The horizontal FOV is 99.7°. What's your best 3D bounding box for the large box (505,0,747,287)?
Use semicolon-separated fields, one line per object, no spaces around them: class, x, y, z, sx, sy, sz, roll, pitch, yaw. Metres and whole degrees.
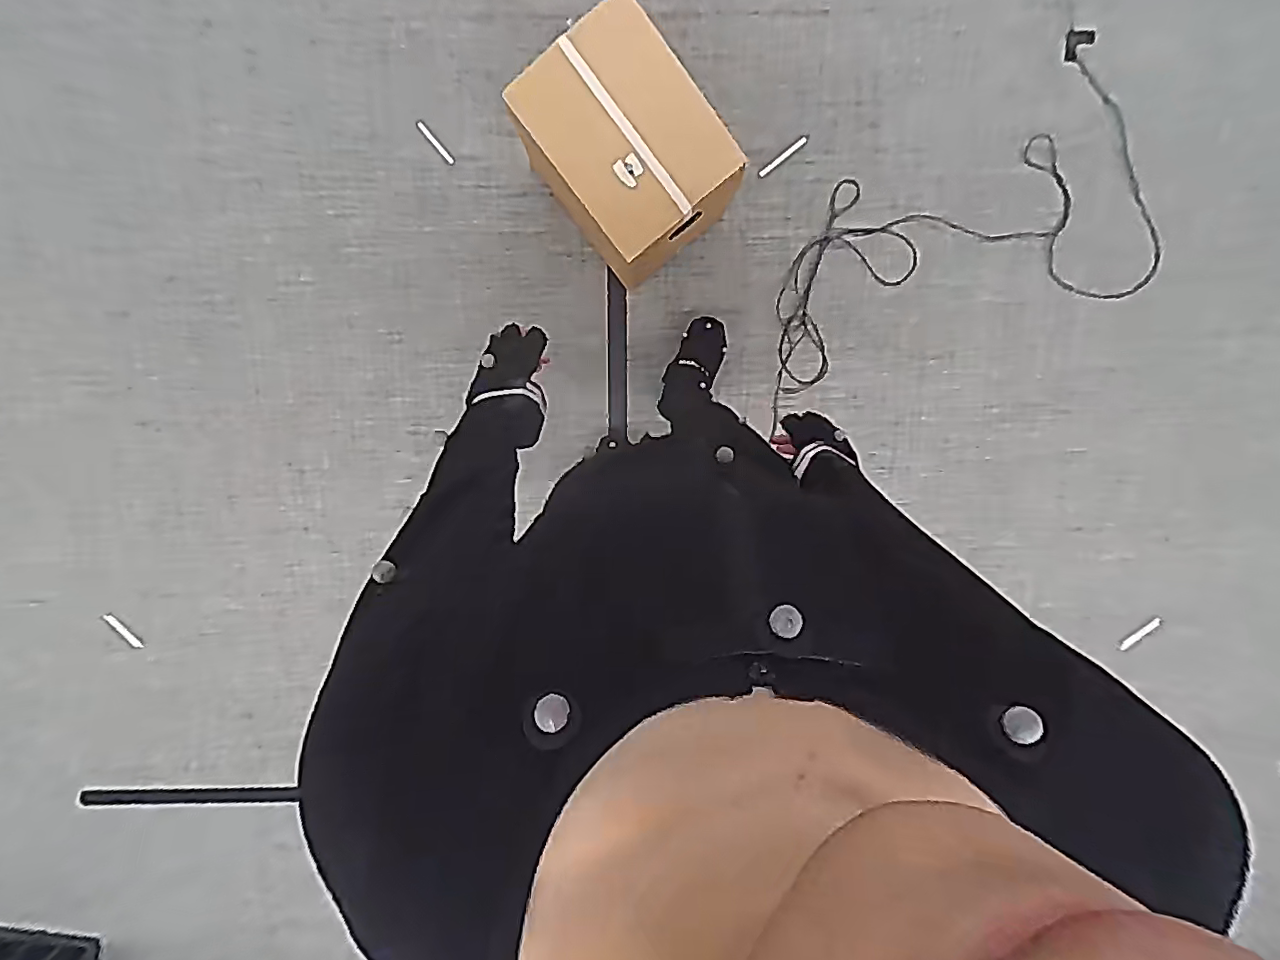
large box;-0.031;-0.717;1.217;0.320;0.320;0.408;-39;98;5
